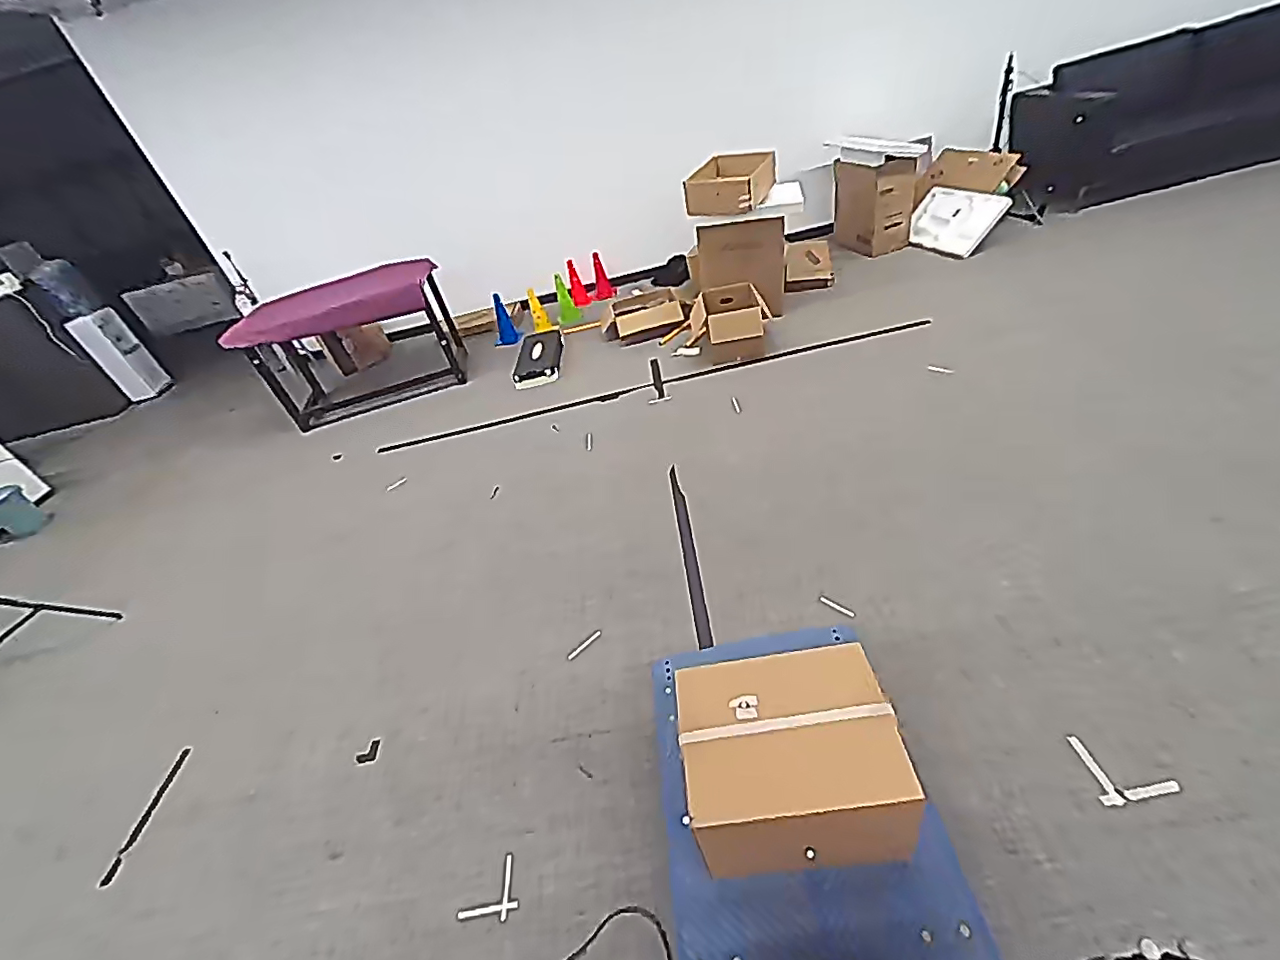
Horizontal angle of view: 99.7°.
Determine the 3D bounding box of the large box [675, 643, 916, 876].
[{"bbox_3d":[0.311,0.597,1.154,0.408,0.320,0.320,-12,37,6],"label":"large box"}]
